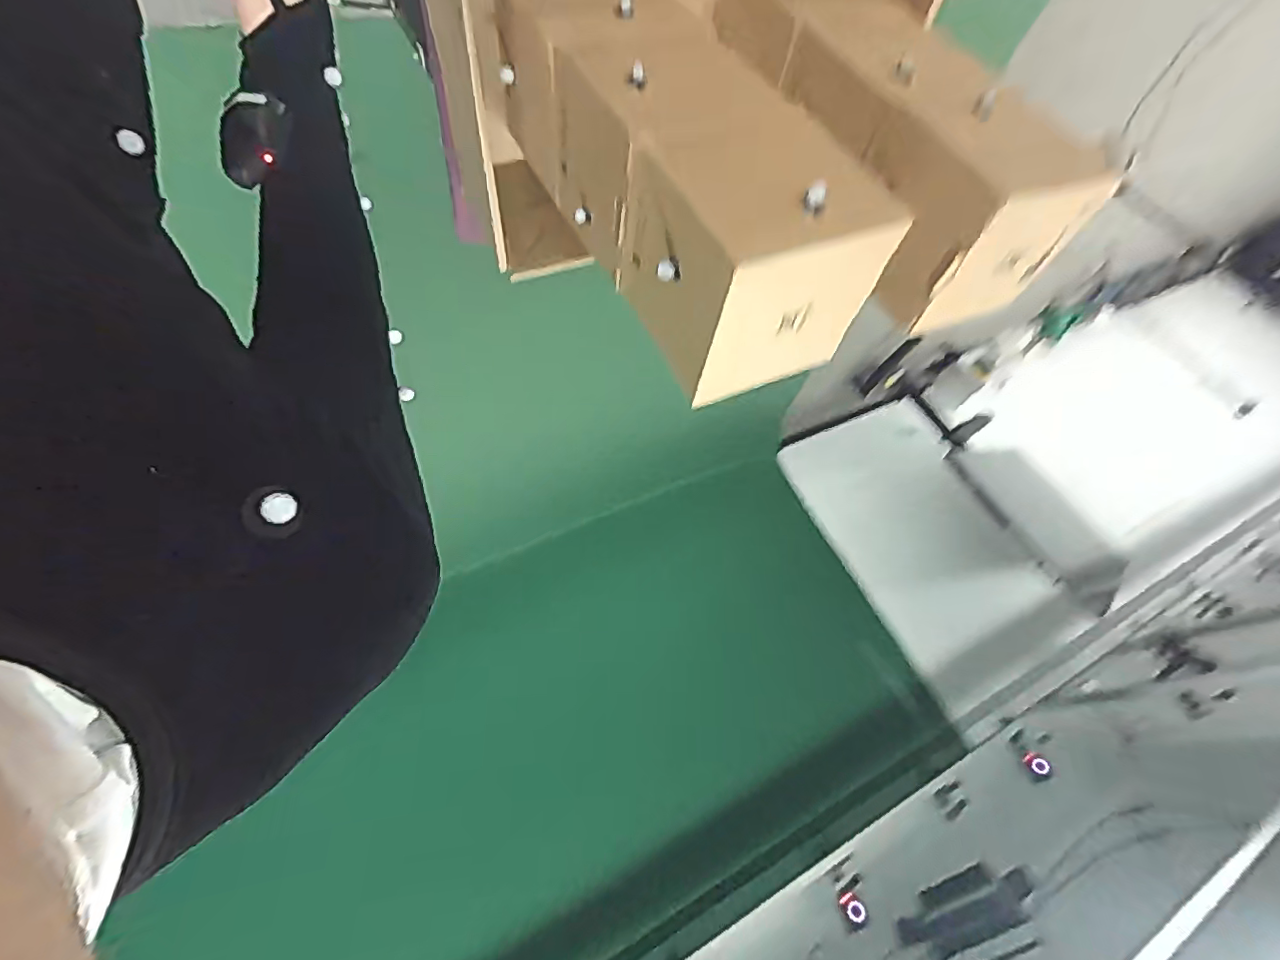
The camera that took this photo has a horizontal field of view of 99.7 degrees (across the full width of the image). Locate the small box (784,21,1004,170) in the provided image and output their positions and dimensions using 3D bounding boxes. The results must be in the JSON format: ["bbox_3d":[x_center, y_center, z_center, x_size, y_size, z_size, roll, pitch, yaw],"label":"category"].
[{"bbox_3d":[0.278,-0.428,0.665,0.179,0.176,0.168,-19,155,-20],"label":"small box"}]

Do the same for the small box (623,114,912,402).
[{"bbox_3d":[0.098,-0.207,0.506,0.179,0.176,0.168,-22,155,-19],"label":"small box"}]

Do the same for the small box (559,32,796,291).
[{"bbox_3d":[0.022,-0.336,0.570,0.179,0.176,0.168,-22,155,-19],"label":"small box"}]

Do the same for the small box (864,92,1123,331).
[{"bbox_3d":[0.347,-0.296,0.596,0.179,0.176,0.168,-18,154,-19],"label":"small box"}]
